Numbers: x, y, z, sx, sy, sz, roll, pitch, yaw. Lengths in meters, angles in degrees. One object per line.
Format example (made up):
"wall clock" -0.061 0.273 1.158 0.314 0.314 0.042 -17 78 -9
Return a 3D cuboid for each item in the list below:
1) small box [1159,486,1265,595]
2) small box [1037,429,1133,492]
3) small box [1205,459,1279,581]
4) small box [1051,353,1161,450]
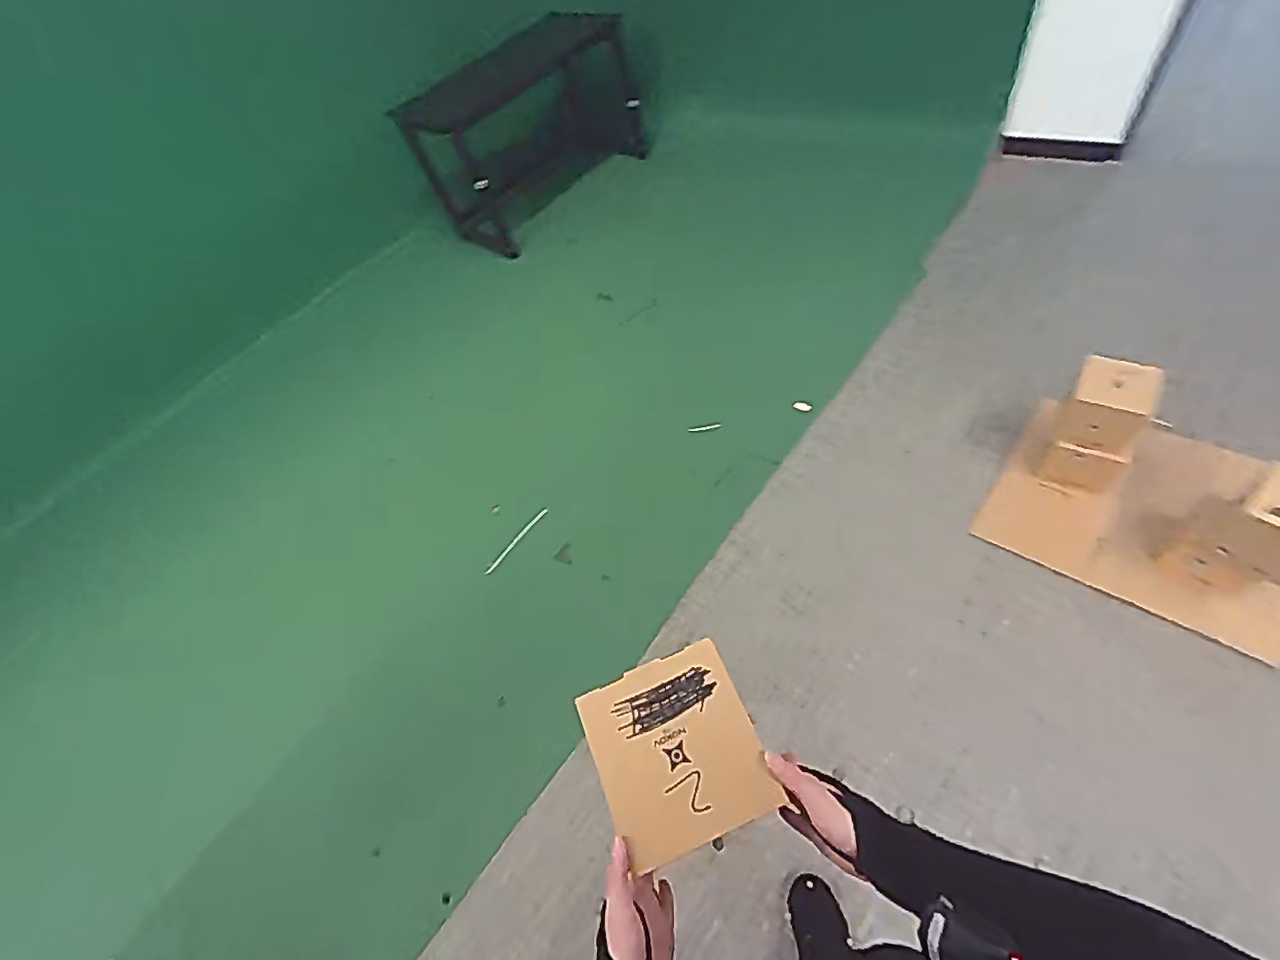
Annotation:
"small box" 1.454 0.155 1.346 0.168 0.176 0.179 34 70 33
"small box" 1.293 -0.097 1.576 0.168 0.176 0.179 22 64 28
"small box" 1.419 0.094 1.193 0.179 0.176 0.168 -41 55 -16
"small box" 1.249 -0.208 1.460 0.168 0.176 0.179 23 64 28
